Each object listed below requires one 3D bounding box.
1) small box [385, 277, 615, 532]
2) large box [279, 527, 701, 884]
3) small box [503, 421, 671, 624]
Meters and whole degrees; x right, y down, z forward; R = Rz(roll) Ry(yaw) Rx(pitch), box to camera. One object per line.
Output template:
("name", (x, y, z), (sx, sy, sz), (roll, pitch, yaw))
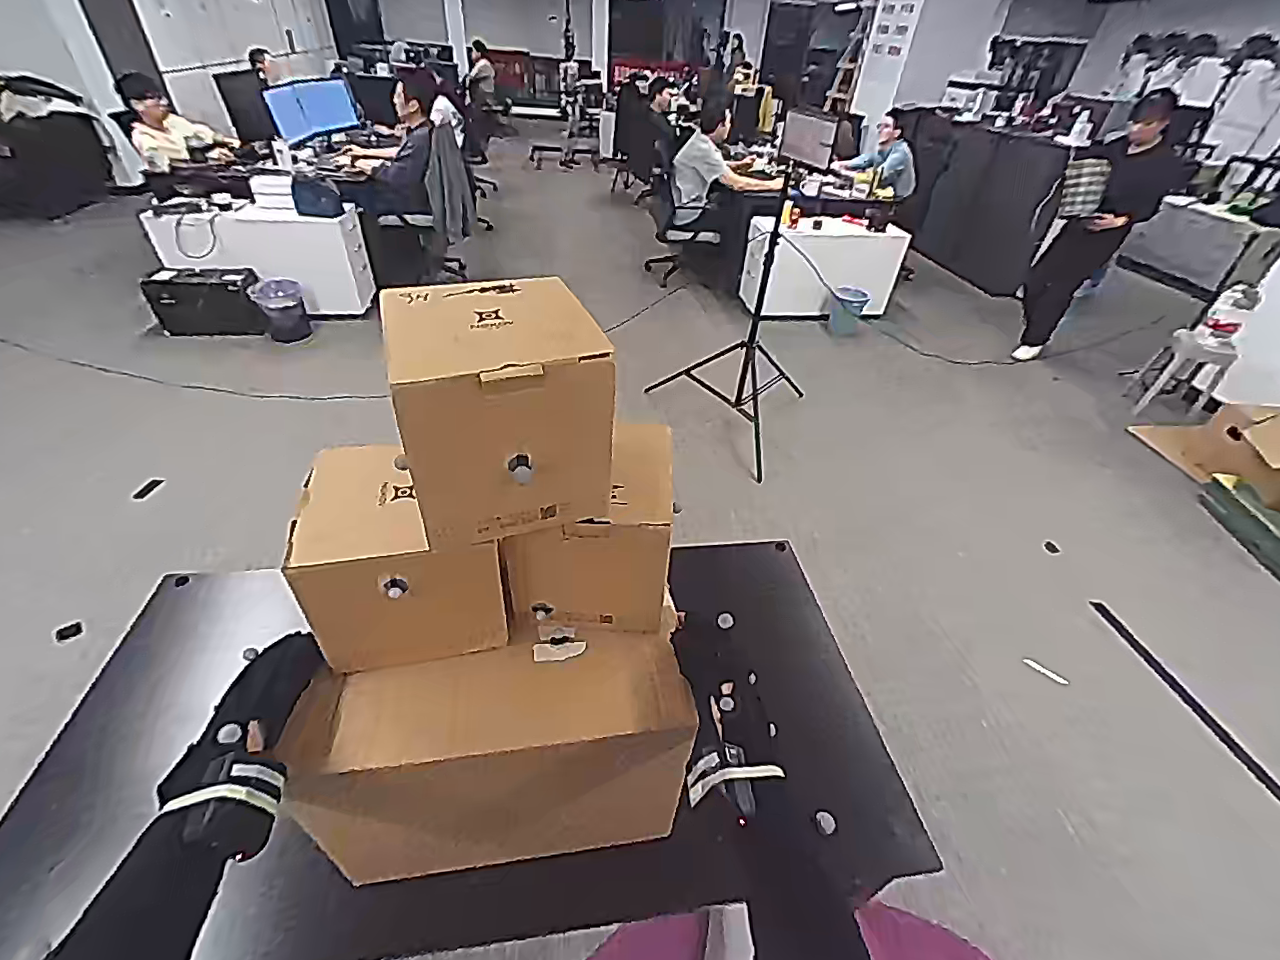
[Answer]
("small box", (-0.128, -0.069, 0.503), (0.168, 0.176, 0.179), (-12, 43, -19))
("large box", (-0.170, 0.274, 0.720), (0.408, 0.320, 0.320), (-3, 40, -11))
("small box", (-0.051, 0.046, 0.627), (0.168, 0.176, 0.179), (4, 38, -1))
